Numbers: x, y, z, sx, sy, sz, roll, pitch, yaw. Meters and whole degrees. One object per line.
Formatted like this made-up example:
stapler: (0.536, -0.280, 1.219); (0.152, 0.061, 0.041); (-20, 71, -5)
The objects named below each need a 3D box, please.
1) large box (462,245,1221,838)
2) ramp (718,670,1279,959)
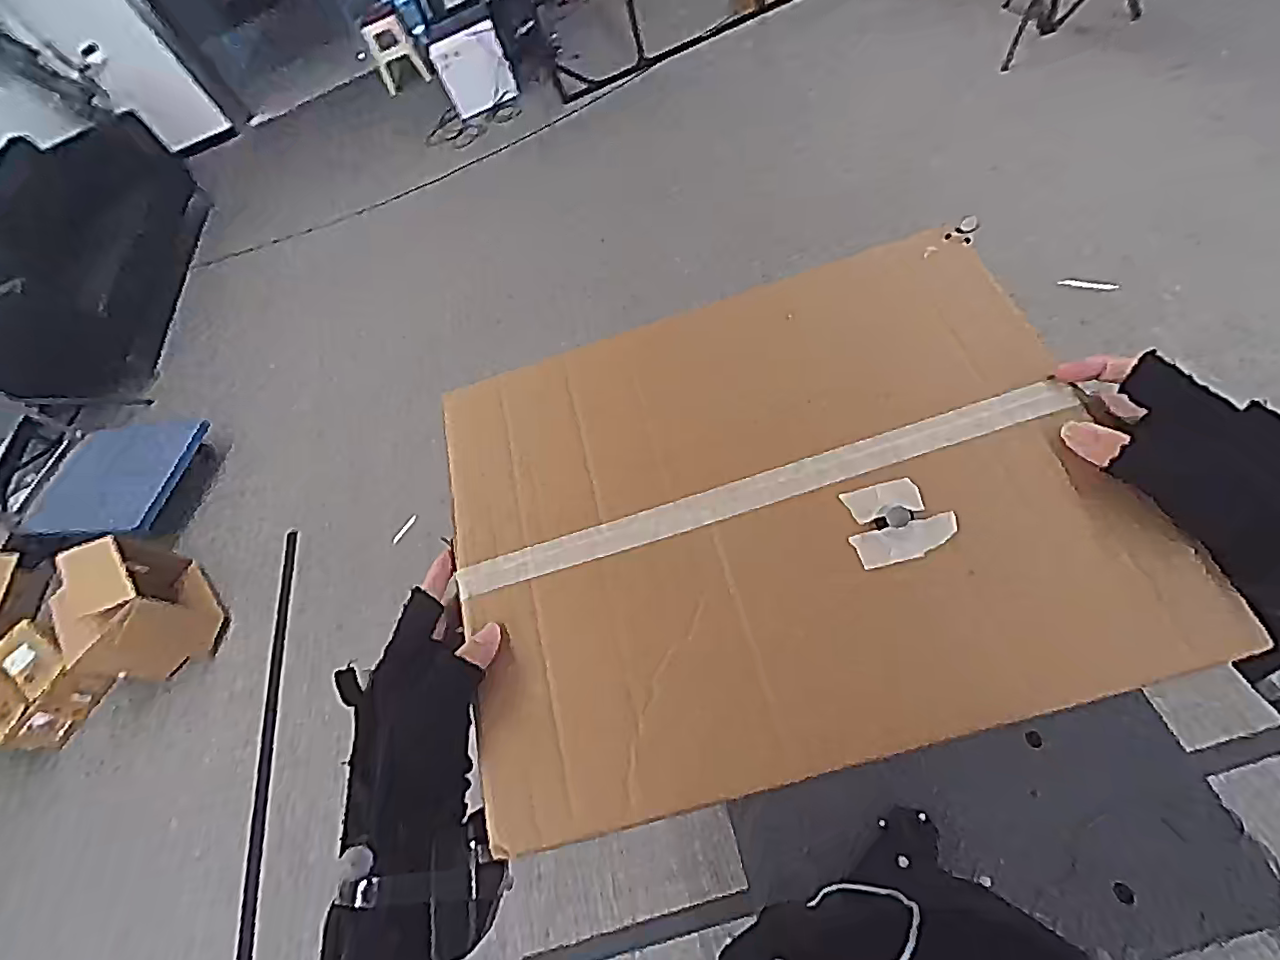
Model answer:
large box: (0.107, 0.071, 0.491); (0.408, 0.320, 0.320); (-17, 65, 3)
ramp: (0.706, 0.752, 1.138); (0.991, 0.206, 0.509); (-21, 55, 4)
